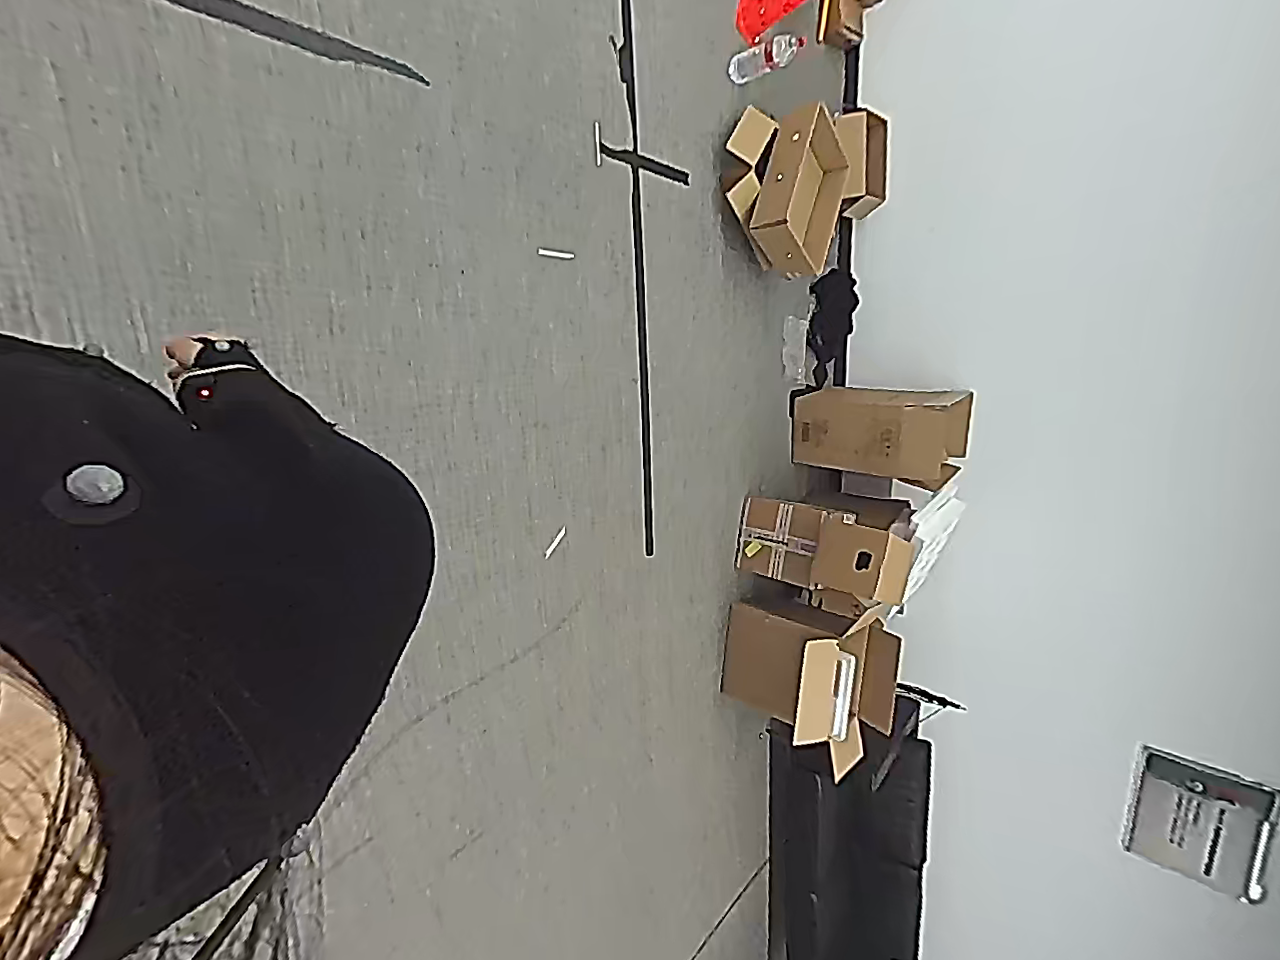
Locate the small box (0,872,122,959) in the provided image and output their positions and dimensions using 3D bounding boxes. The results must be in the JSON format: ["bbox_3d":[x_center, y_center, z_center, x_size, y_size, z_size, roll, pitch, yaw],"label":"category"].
[{"bbox_3d":[-1.032,0.829,0.933,0.168,0.176,0.179,-19,112,-44],"label":"small box"}]

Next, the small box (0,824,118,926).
[{"bbox_3d":[-1.150,0.809,1.042,0.168,0.176,0.179,-19,111,-45],"label":"small box"}]
